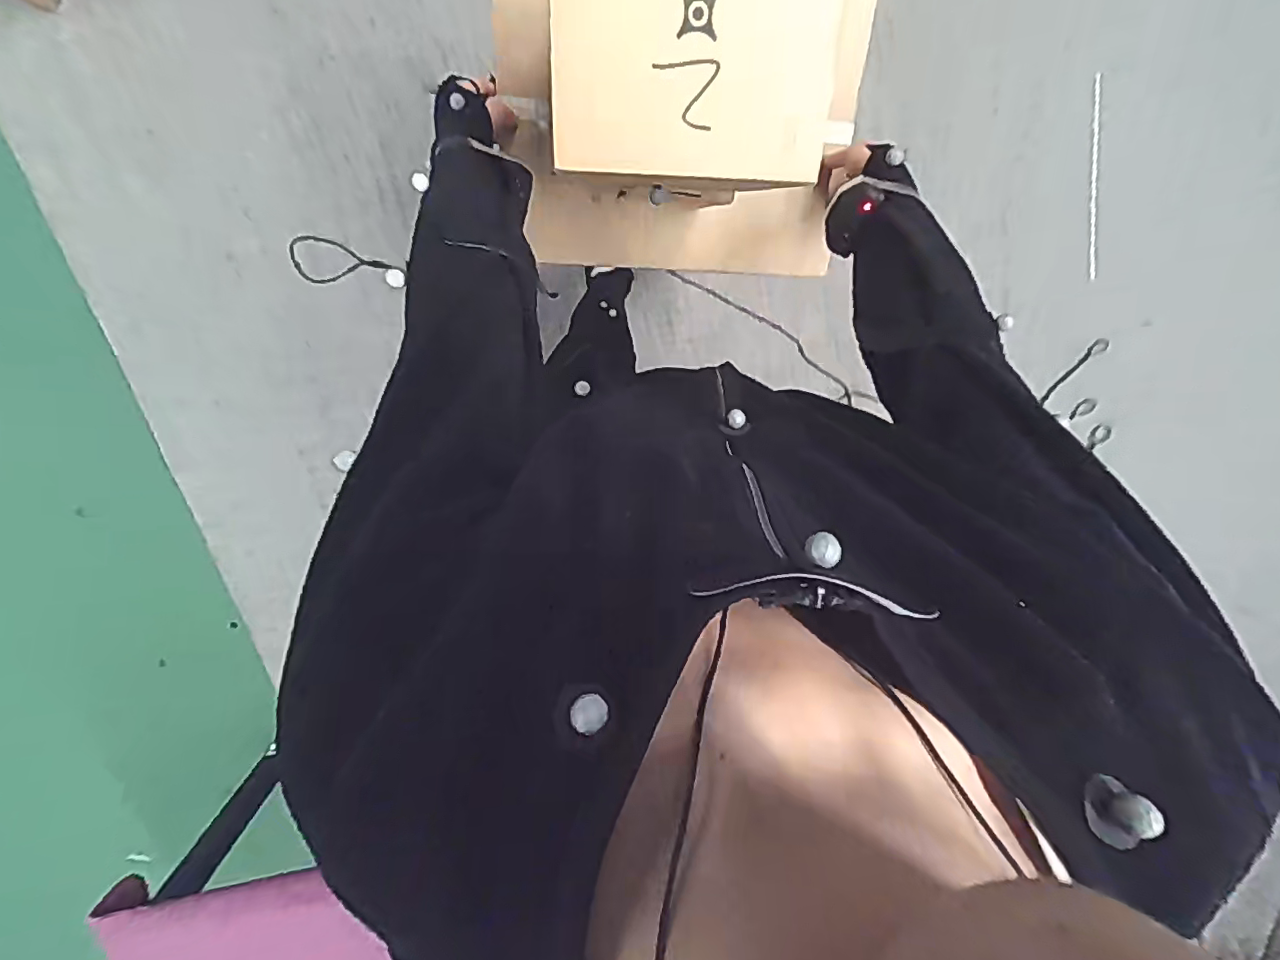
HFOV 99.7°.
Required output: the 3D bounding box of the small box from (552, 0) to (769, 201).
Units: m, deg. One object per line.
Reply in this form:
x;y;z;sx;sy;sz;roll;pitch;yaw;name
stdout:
0.007;-0.374;0.510;0.168;0.176;0.179;4;115;-8;small box
